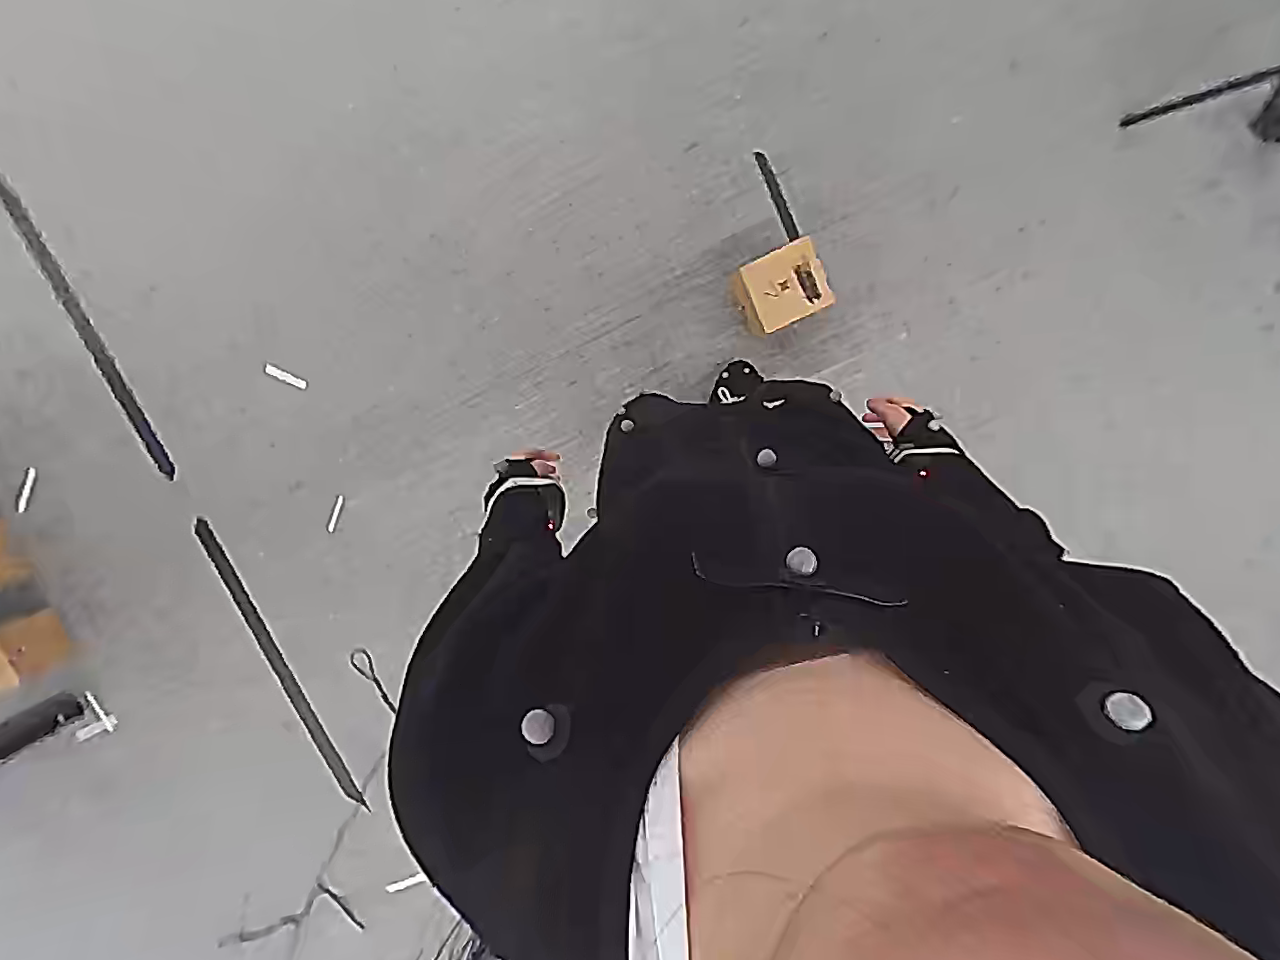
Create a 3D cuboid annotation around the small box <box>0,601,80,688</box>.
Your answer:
[{"bbox_3d":[-1.798,0.481,1.559,0.168,0.176,0.179,-22,98,4],"label":"small box"}]
